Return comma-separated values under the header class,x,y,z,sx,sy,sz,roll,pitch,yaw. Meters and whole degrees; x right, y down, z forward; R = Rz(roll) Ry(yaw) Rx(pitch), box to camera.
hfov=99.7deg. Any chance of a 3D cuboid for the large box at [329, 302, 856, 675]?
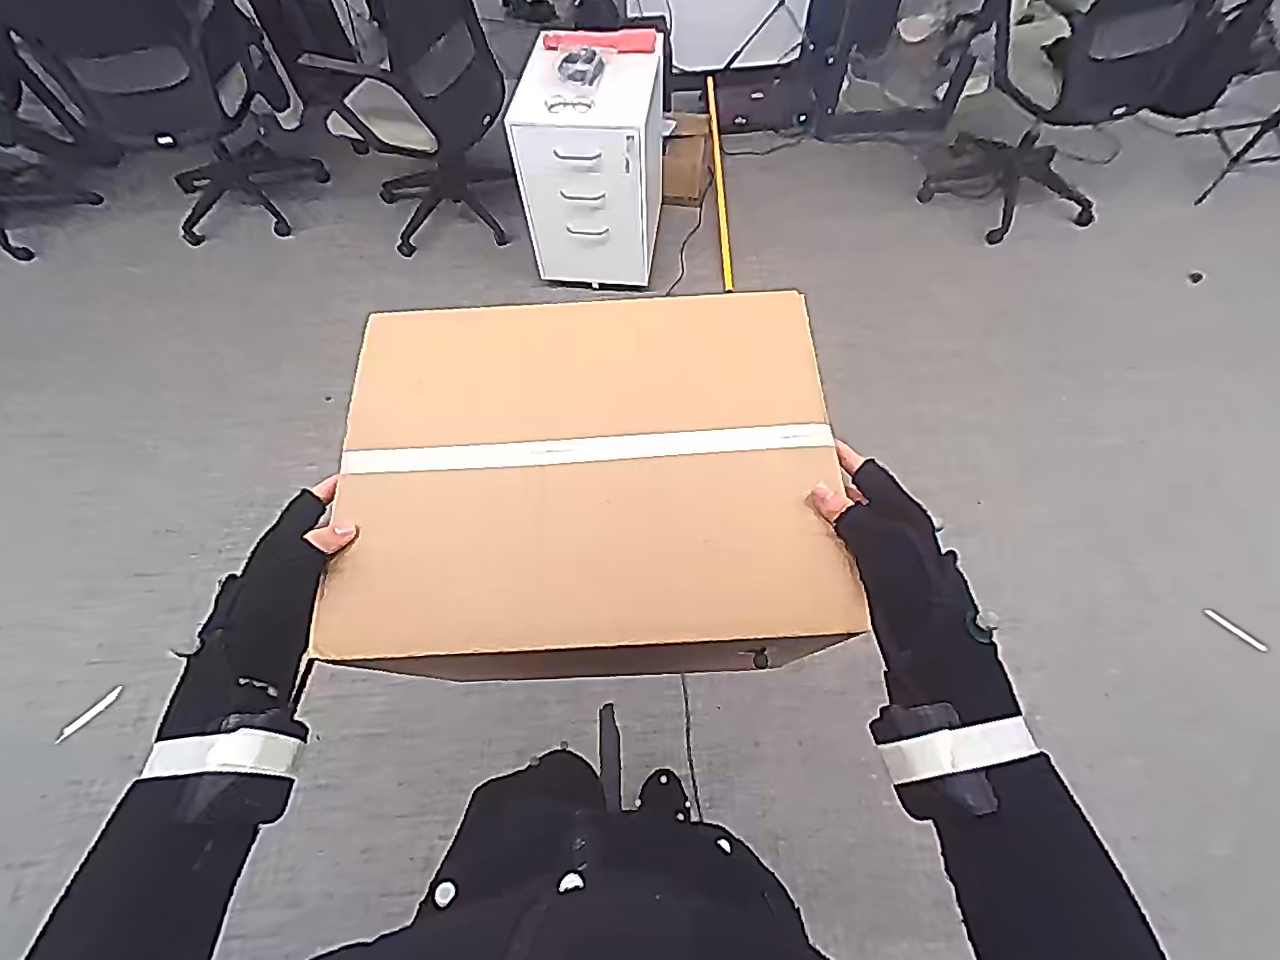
class,x,y,z,sx,sy,sz,roll,pitch,yaw
large box,-0.039,0.038,0.596,0.408,0.320,0.320,-3,66,0
